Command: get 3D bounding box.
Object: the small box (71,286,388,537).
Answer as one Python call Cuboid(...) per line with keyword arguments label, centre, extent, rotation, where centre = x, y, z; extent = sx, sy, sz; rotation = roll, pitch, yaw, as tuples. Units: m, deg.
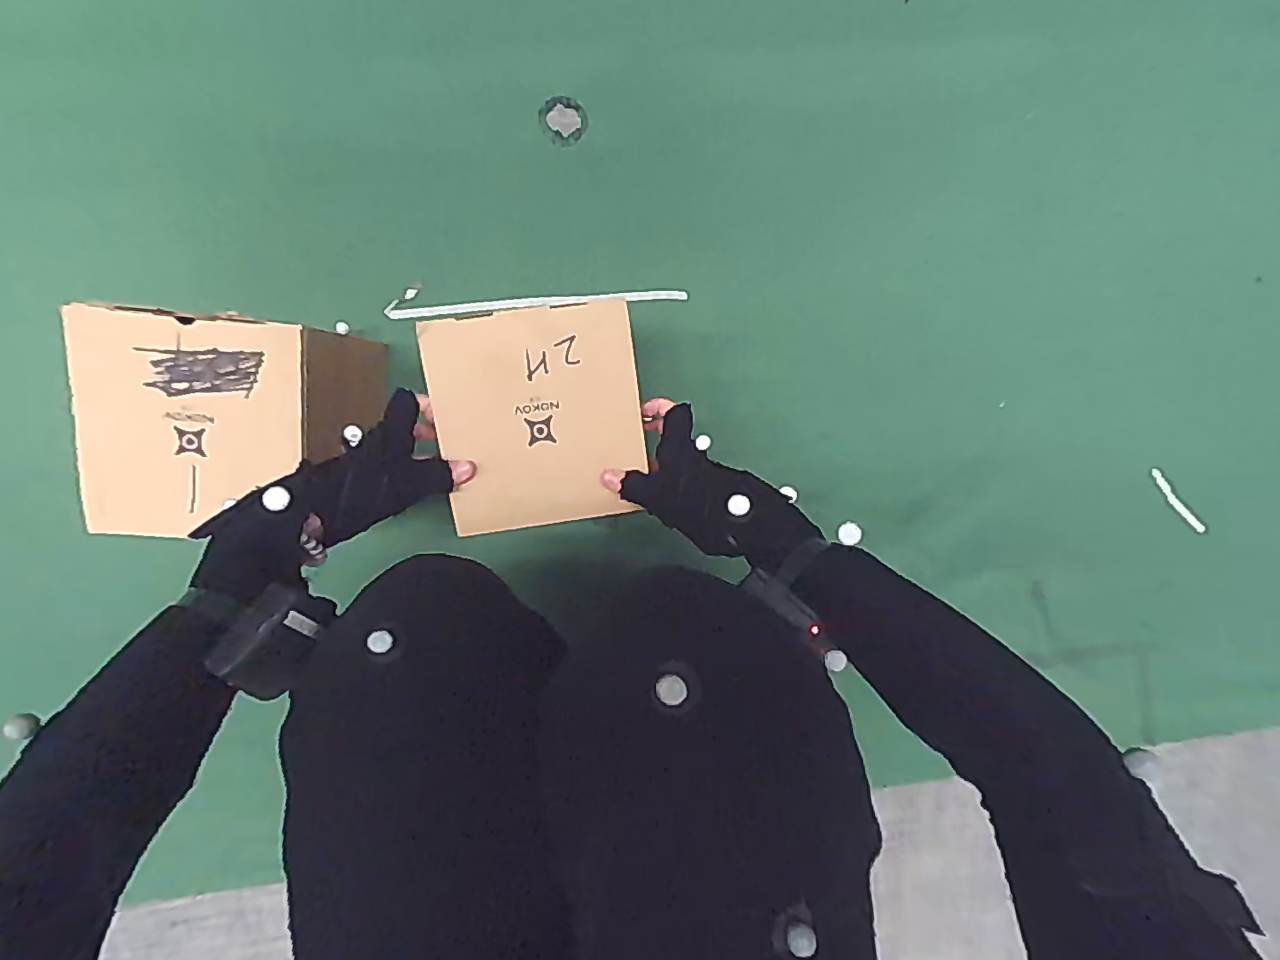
Cuboid(label="small box", centre=(-0.341, -0.060, 0.486), extent=(0.168, 0.176, 0.179), rotation=(5, 99, -6))
